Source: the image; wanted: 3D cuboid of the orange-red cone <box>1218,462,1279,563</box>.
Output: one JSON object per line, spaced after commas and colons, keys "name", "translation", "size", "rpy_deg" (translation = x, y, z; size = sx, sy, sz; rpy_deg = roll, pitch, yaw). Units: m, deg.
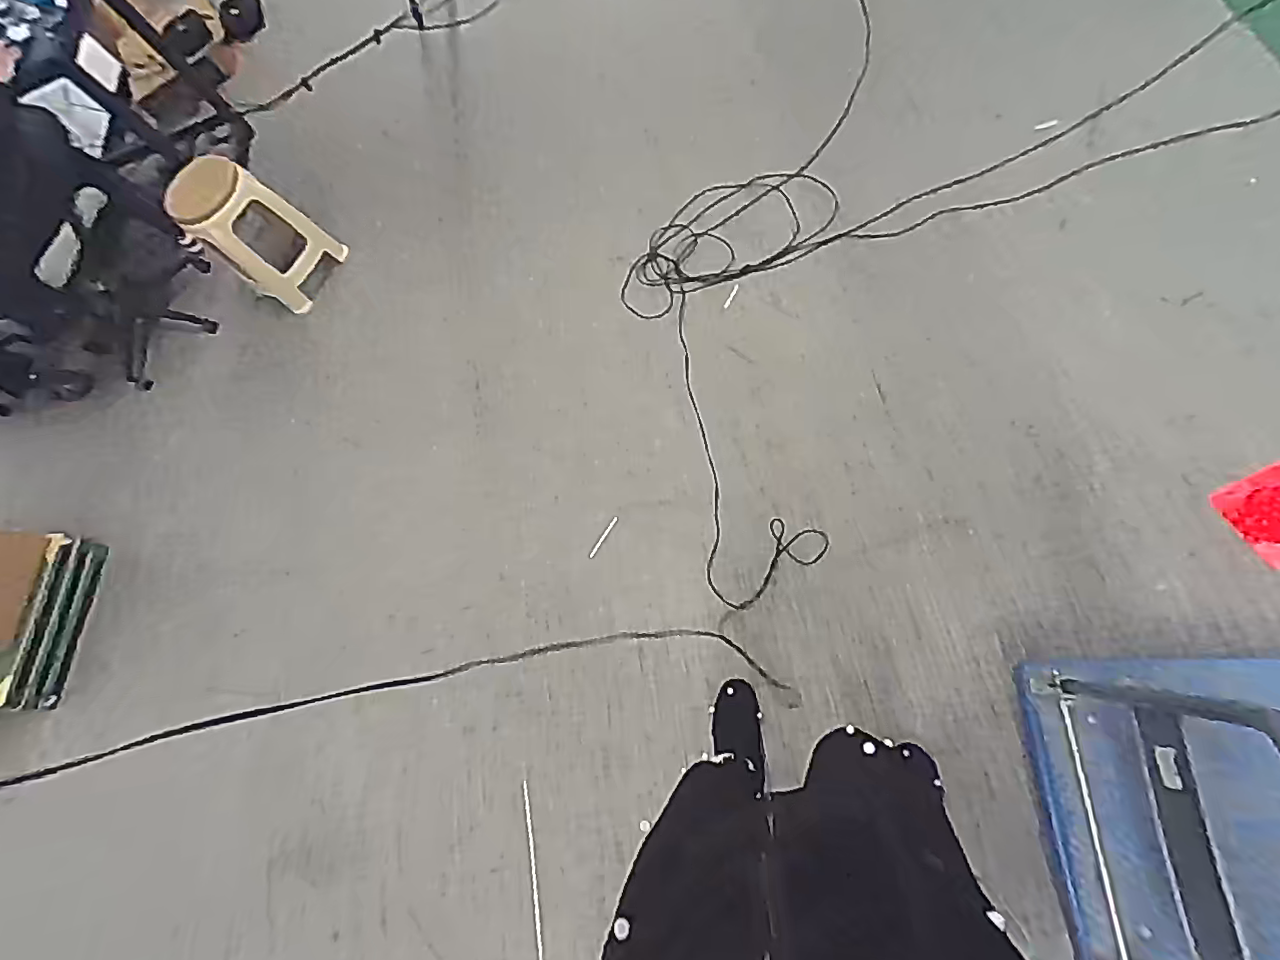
{"name": "orange-red cone", "translation": [1.432, 0.016, 1.076], "size": [0.198, 0.360, 0.199], "rpy_deg": [-27, 67, 4]}
